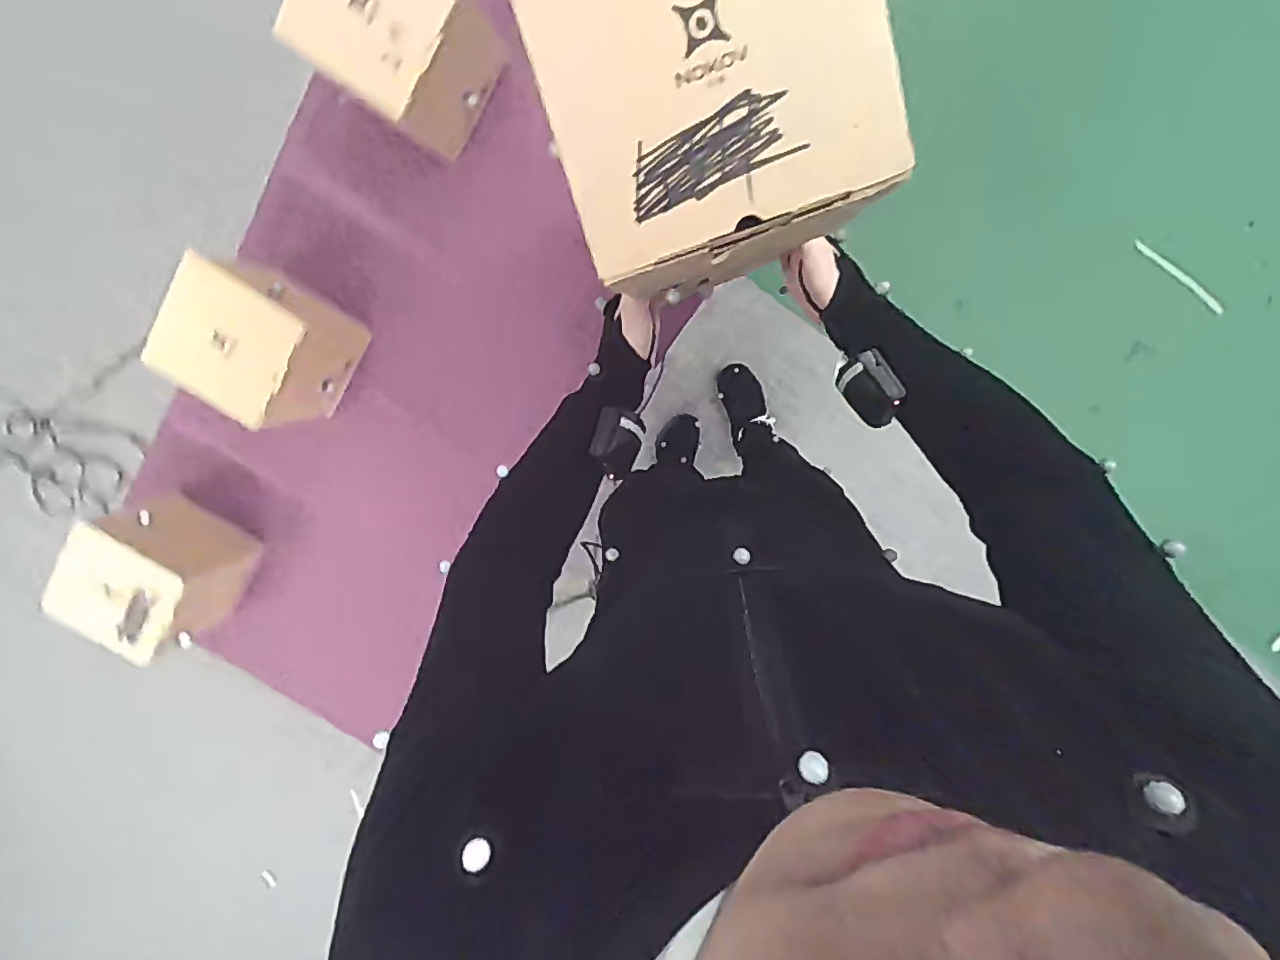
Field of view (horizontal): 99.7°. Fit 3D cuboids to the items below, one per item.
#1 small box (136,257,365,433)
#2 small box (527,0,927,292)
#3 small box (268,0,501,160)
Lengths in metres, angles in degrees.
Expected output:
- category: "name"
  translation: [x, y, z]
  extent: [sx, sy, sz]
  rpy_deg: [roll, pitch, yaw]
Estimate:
- category: "small box"
  translation: [-0.544, -0.186, 0.780]
  extent: [0.179, 0.176, 0.168]
  rpy_deg: [32, 101, -5]
- category: "small box"
  translation: [0.046, -0.223, 0.329]
  extent: [0.168, 0.176, 0.179]
  rpy_deg: [-15, 103, 9]
- category: "small box"
  translation: [-0.310, -0.550, 0.690]
  extent: [0.179, 0.176, 0.168]
  rpy_deg: [33, 104, -5]
